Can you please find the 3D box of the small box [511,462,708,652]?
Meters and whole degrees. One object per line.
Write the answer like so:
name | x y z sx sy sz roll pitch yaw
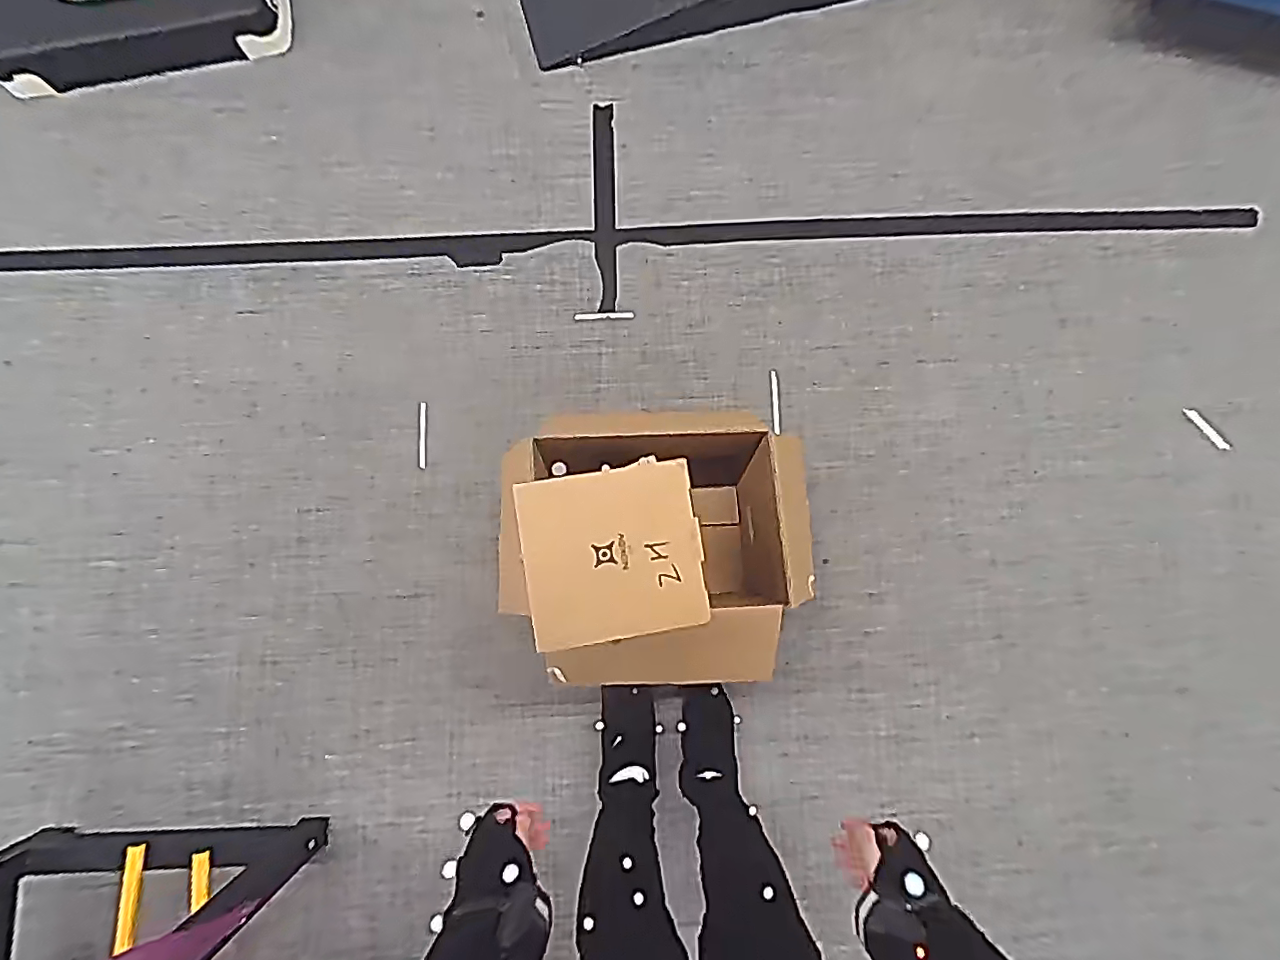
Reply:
small box | -0.035 0.079 0.605 0.179 0.176 0.168 -9 88 -6
